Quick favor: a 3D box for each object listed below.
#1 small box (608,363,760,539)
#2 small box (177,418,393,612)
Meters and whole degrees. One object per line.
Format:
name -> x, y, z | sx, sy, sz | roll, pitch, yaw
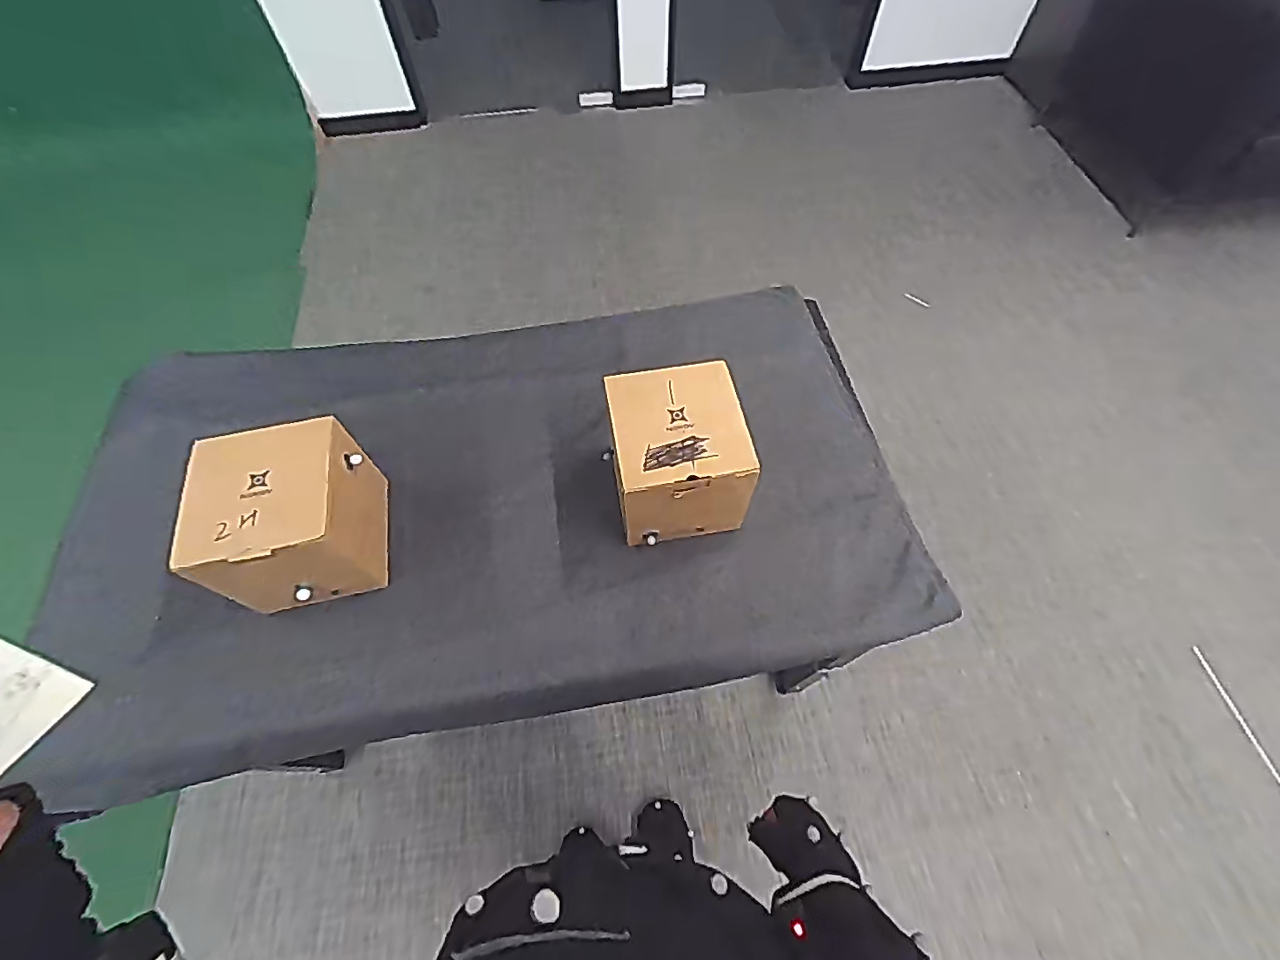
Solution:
small box -> 0.052, -0.031, 0.741 | 0.168, 0.176, 0.179 | -8, 60, -4
small box -> -0.436, 0.049, 0.698 | 0.168, 0.176, 0.179 | -12, 61, -6
